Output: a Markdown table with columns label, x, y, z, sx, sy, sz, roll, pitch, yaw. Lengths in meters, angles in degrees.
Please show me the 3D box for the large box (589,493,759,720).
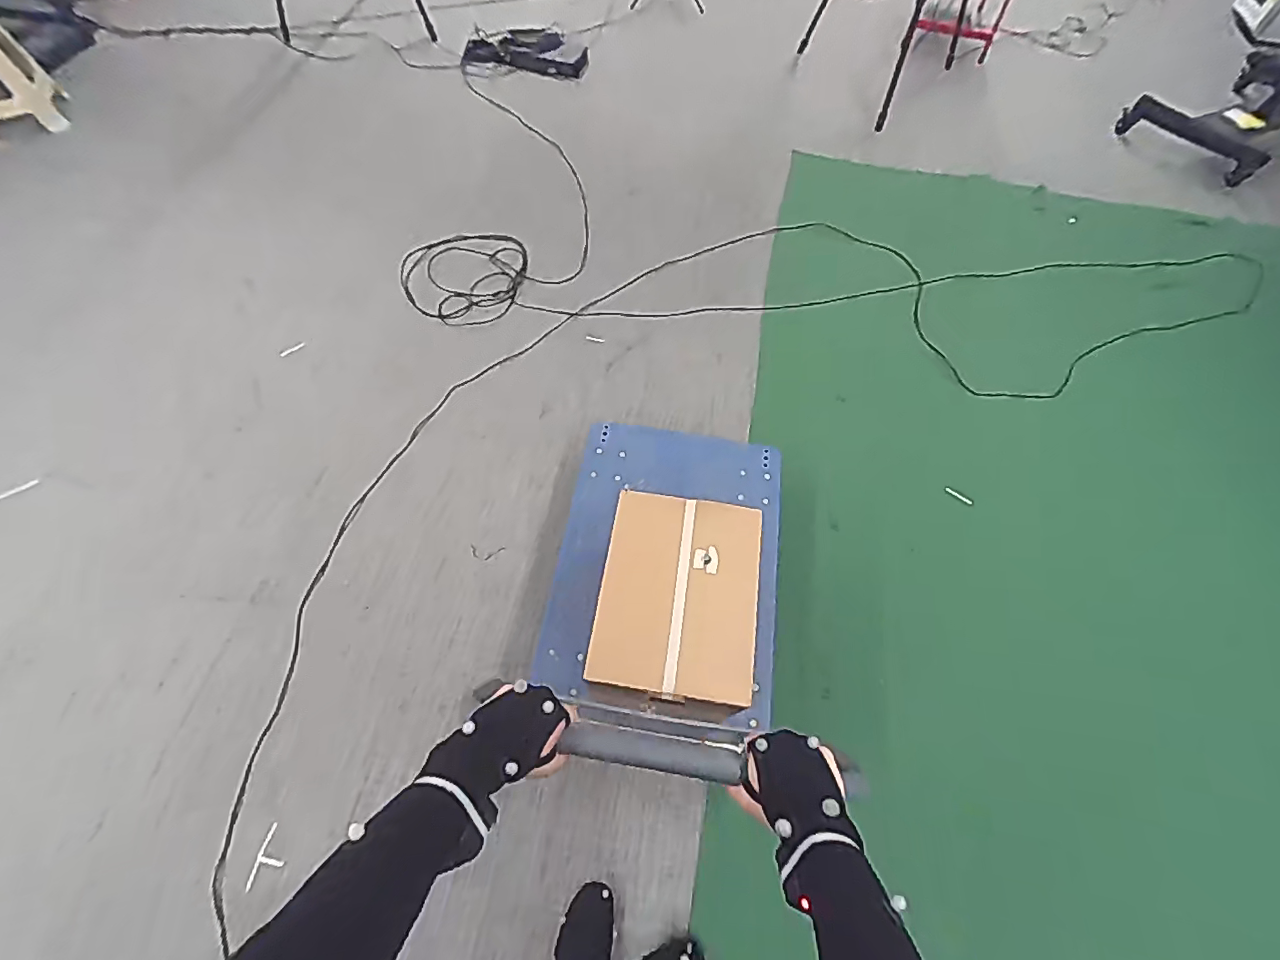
| label | x | y | z | sx | sy | sz | roll | pitch | yaw |
| --- | --- | --- | --- | --- | --- | --- | --- | --- | --- |
| large box | 0.079 | 0.292 | 1.216 | 0.320 | 0.320 | 0.408 | 9 | 60 | 2 |
